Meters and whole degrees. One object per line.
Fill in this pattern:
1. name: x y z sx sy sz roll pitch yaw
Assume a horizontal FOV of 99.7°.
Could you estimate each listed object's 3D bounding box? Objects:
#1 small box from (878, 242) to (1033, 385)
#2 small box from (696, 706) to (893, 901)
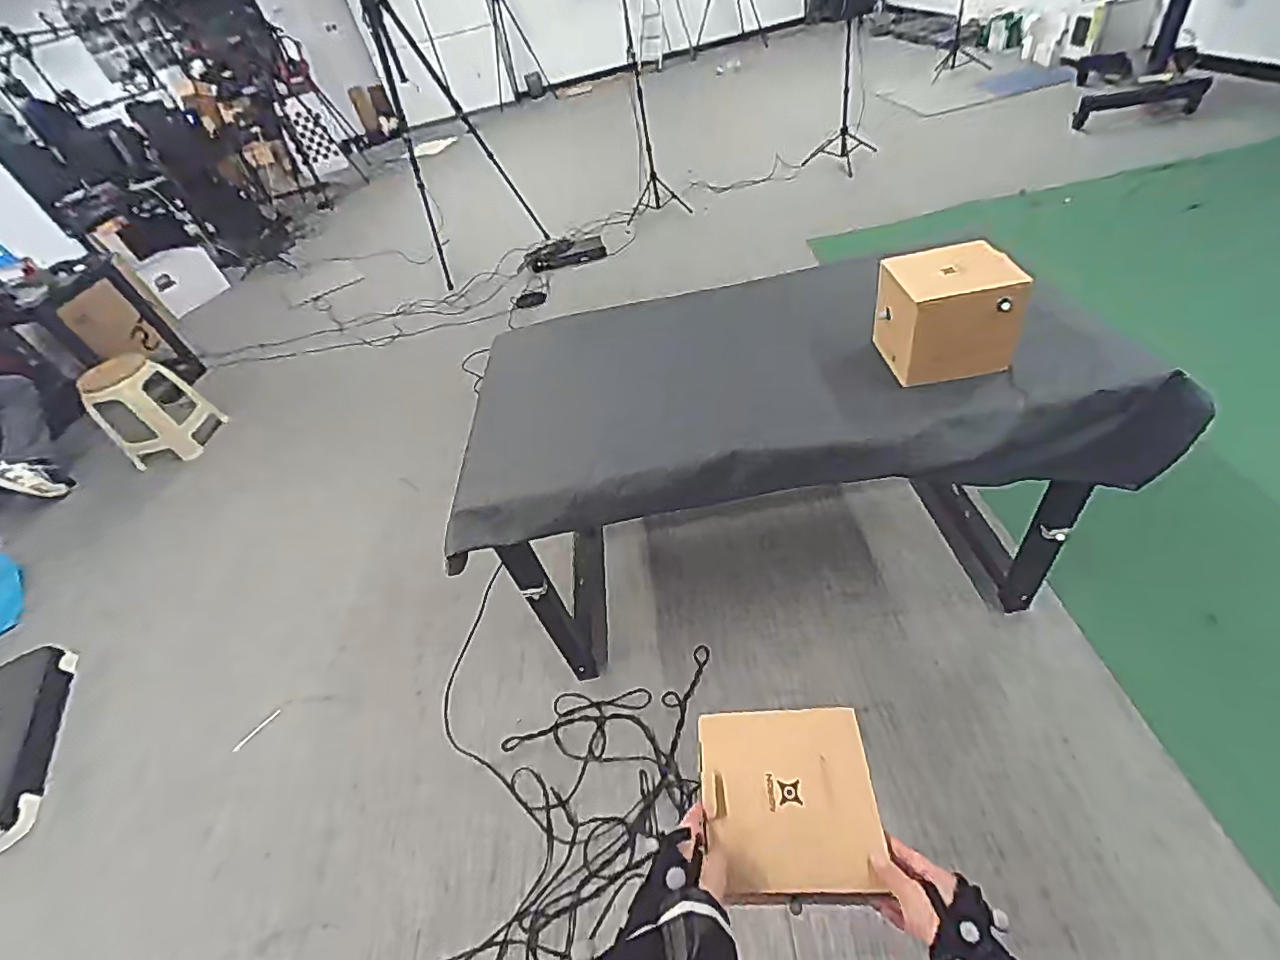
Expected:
1. small box: 0.527 -0.283 0.936 0.179 0.176 0.168 -9 44 7
2. small box: 0.163 0.370 0.613 0.179 0.176 0.168 -6 49 8
